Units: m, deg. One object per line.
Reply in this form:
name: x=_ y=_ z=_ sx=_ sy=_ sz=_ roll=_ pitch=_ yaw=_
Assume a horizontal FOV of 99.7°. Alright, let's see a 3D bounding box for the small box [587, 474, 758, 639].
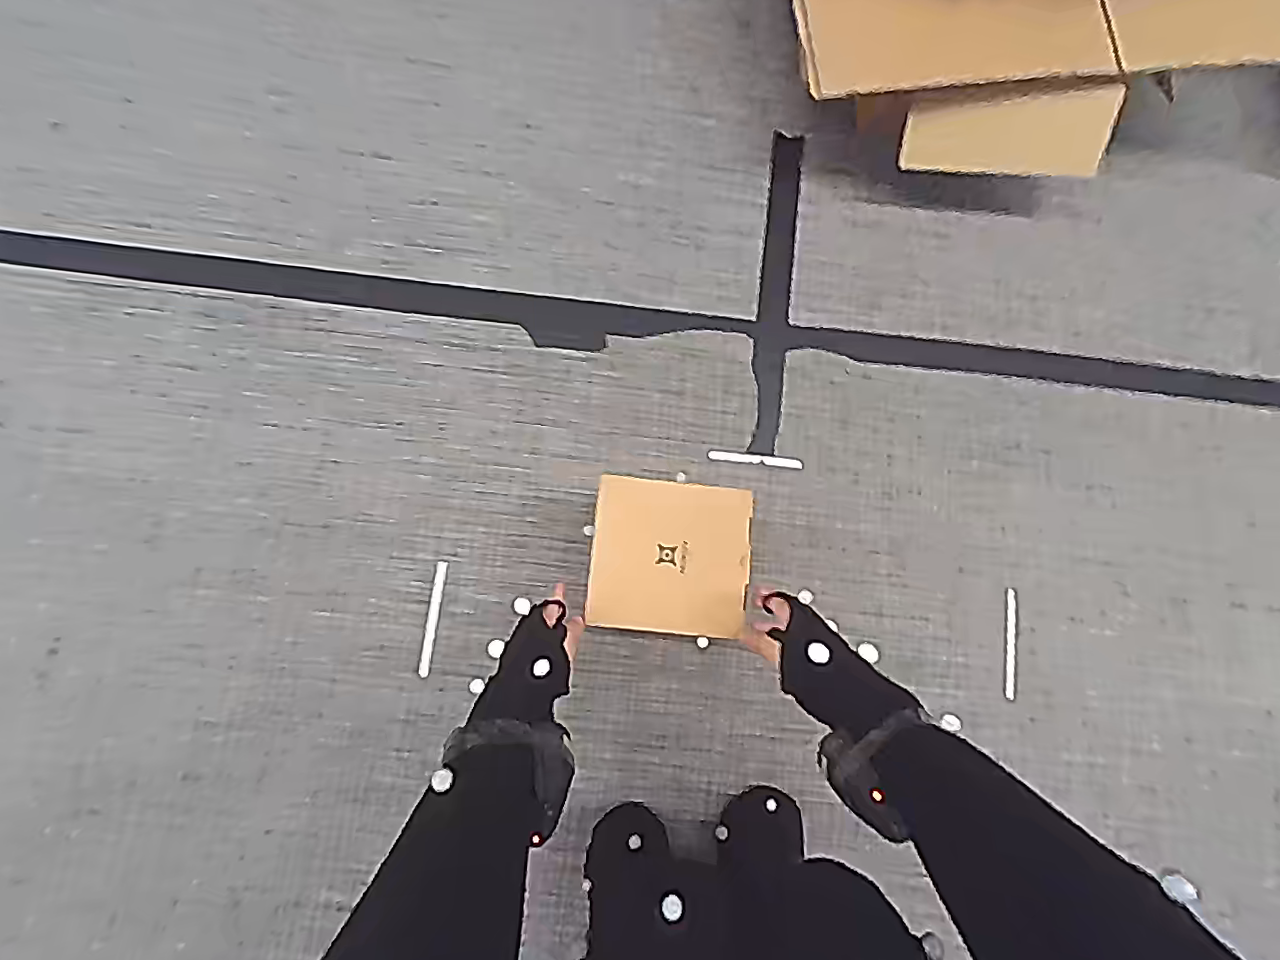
small box: x=0.033 y=0.094 z=0.667 sx=0.179 sy=0.176 sz=0.168 roll=6 pitch=81 yaw=-3
